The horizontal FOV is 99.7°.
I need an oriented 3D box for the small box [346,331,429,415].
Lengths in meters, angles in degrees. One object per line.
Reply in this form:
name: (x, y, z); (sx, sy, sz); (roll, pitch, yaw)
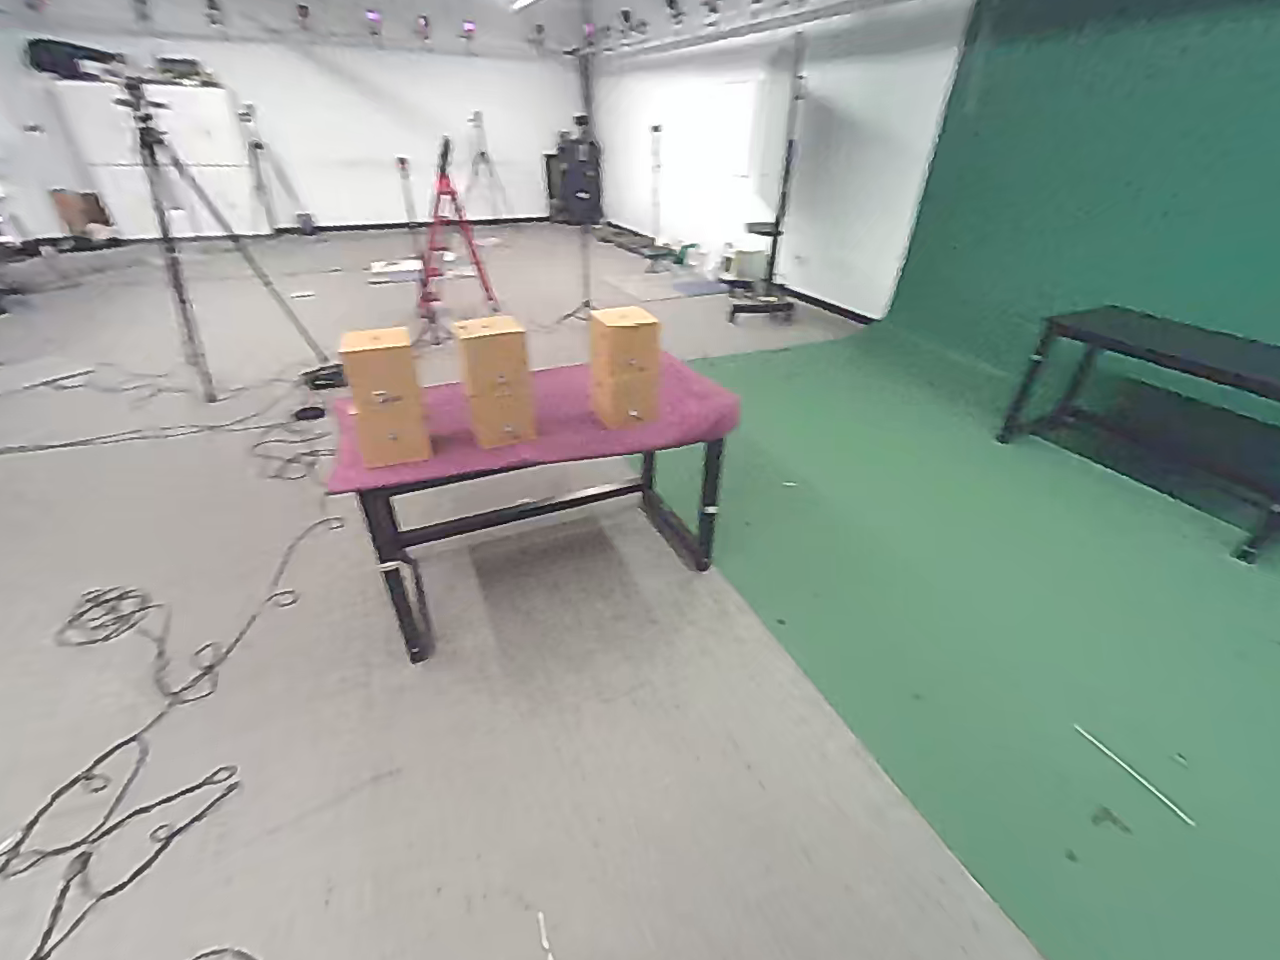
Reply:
small box: (-0.673, -0.289, 1.453); (0.168, 0.176, 0.179); (-12, 34, -18)

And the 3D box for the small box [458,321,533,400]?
small box: (-0.411, -0.344, 1.548); (0.179, 0.176, 0.168); (-13, 34, -23)

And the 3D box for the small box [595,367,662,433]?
small box: (-0.042, -0.270, 1.755); (0.168, 0.176, 0.179); (-13, 36, -21)

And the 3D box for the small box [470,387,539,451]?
small box: (-0.413, -0.206, 1.637); (0.168, 0.176, 0.179); (-14, 35, -22)

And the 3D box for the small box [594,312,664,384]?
small box: (-0.039, -0.410, 1.672); (0.168, 0.176, 0.179); (-13, 36, -21)
